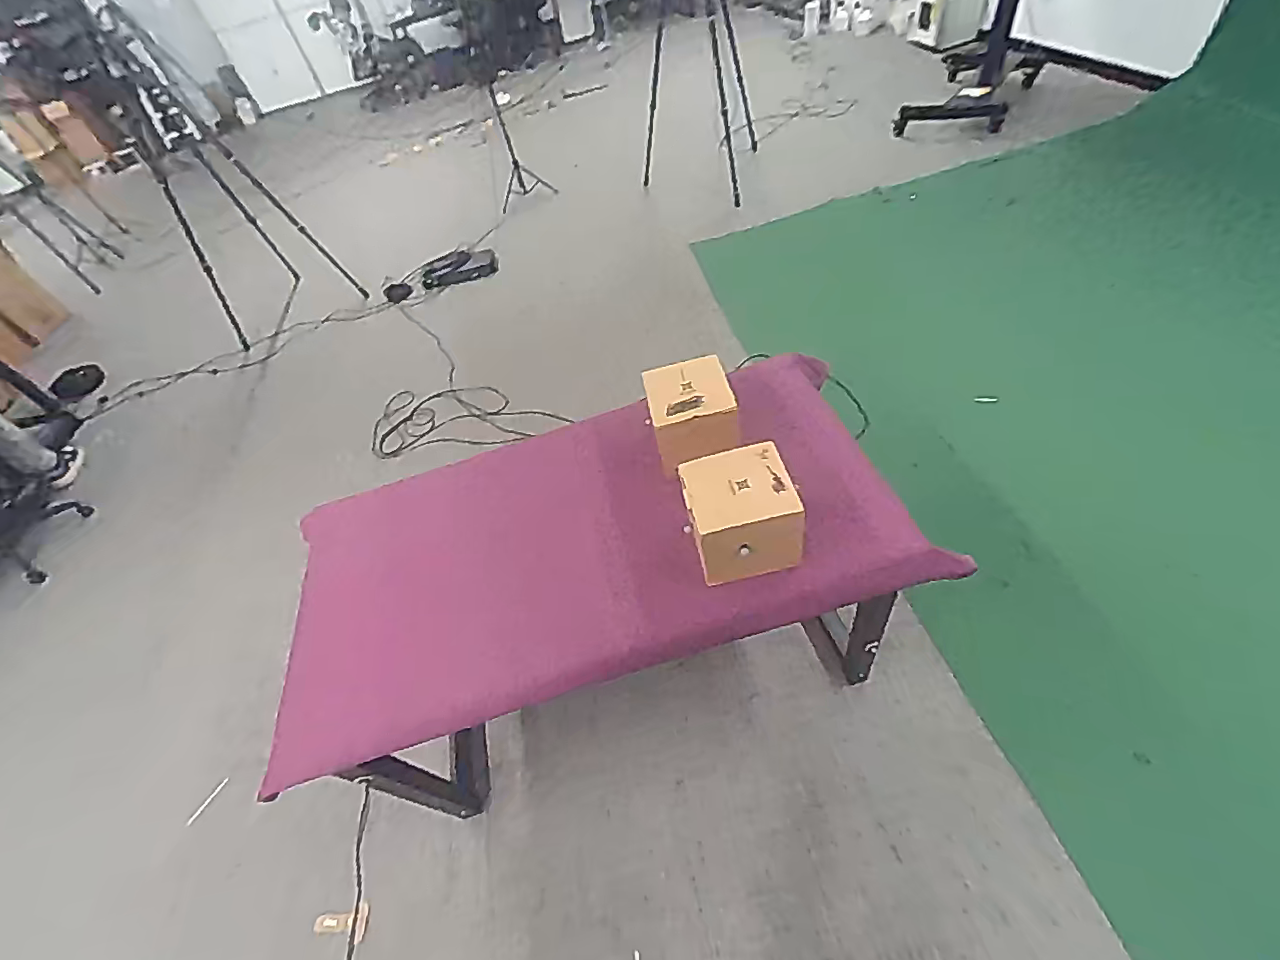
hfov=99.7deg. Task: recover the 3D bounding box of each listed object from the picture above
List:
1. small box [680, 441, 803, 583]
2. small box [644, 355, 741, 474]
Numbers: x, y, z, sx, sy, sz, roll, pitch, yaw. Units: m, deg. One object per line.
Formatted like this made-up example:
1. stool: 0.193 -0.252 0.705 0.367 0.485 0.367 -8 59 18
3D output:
1. small box: 0.182 0.062 0.966 0.179 0.176 0.168 -14 48 3
2. small box: 0.114 -0.131 1.144 0.168 0.176 0.179 -13 49 3
